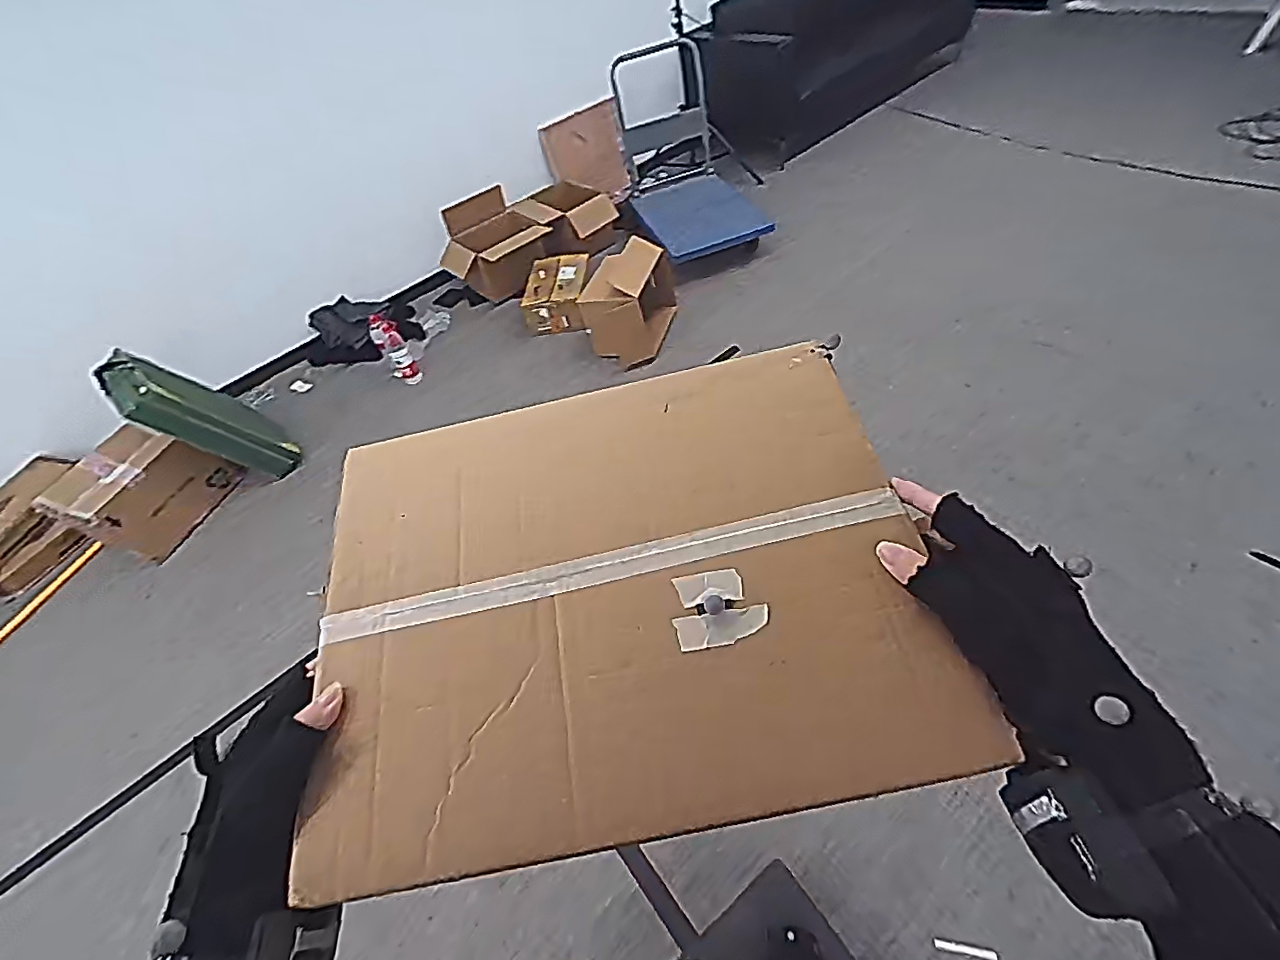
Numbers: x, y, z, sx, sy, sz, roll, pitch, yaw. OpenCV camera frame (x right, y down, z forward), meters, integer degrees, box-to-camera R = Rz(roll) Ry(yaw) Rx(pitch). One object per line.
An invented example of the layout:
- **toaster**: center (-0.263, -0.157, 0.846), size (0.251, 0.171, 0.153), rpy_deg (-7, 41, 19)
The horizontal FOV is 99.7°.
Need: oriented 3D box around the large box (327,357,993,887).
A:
- **large box**: center (0.003, 0.141, 0.513), size (0.408, 0.320, 0.320), rpy_deg (-13, 59, 2)
